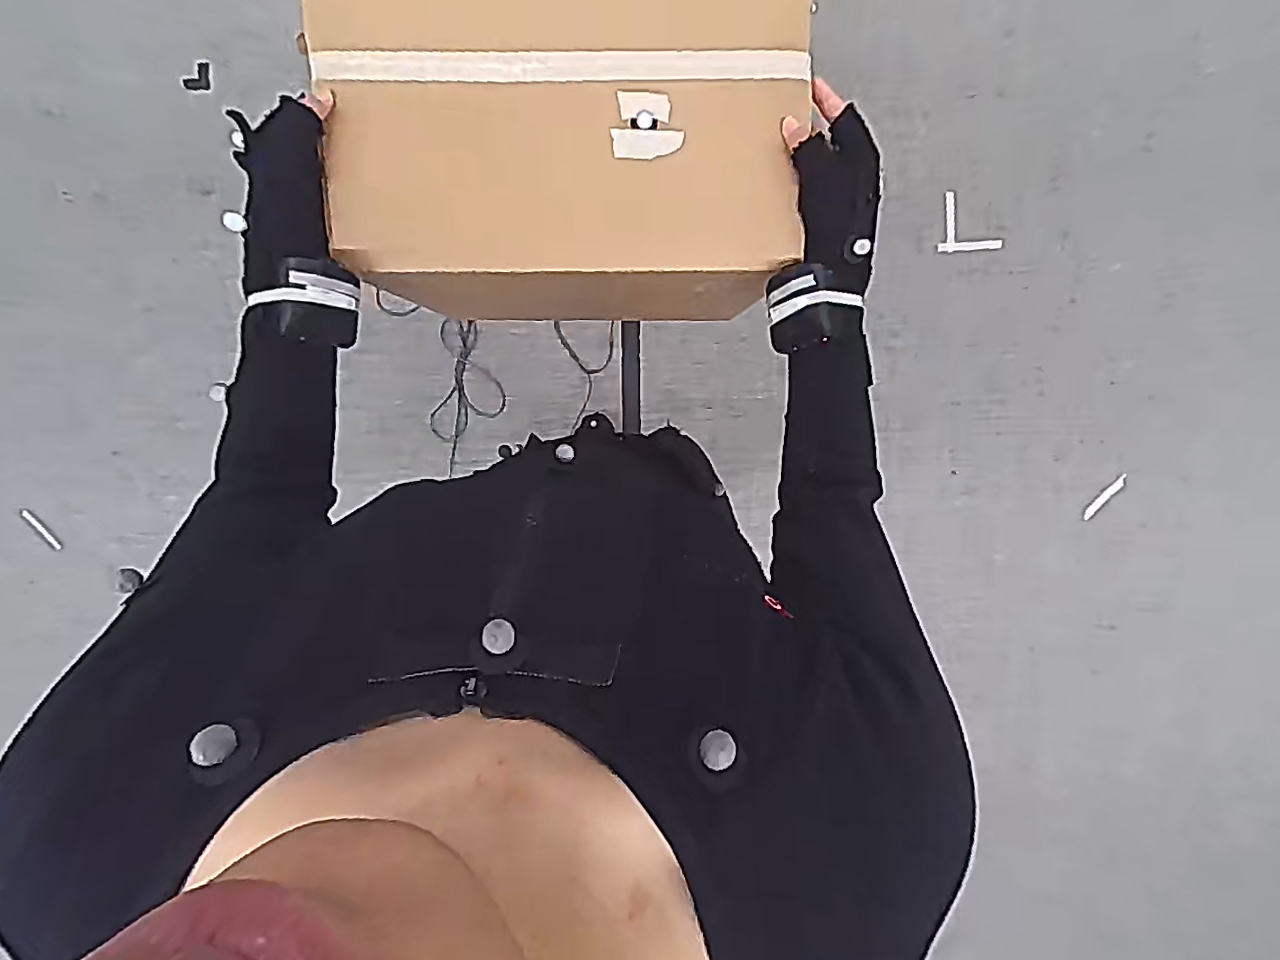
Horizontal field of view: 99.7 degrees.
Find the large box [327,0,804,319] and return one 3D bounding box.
[{"bbox_3d":[-0.065,-0.365,0.605,0.408,0.320,0.320,-1,100,-2],"label":"large box"}]
